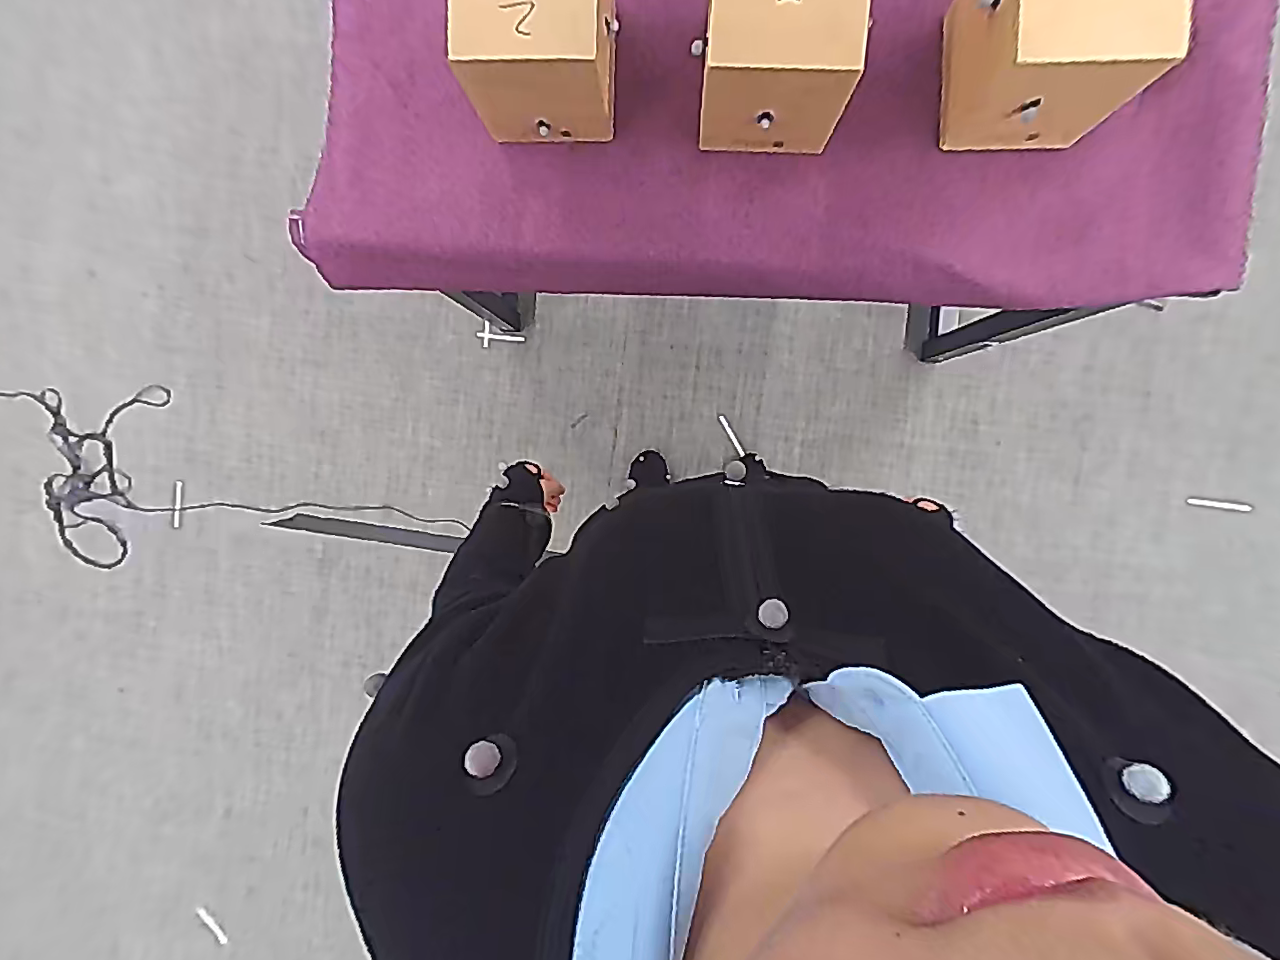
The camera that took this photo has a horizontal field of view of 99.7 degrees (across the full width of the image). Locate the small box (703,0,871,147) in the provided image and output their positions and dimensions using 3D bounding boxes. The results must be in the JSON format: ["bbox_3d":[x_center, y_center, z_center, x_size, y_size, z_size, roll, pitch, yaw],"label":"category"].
[{"bbox_3d":[0.166,-0.528,0.644,0.168,0.176,0.179,4,94,3],"label":"small box"}]

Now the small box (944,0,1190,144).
[{"bbox_3d":[0.475,-0.518,0.625,0.168,0.176,0.179,1,92,4],"label":"small box"}]
